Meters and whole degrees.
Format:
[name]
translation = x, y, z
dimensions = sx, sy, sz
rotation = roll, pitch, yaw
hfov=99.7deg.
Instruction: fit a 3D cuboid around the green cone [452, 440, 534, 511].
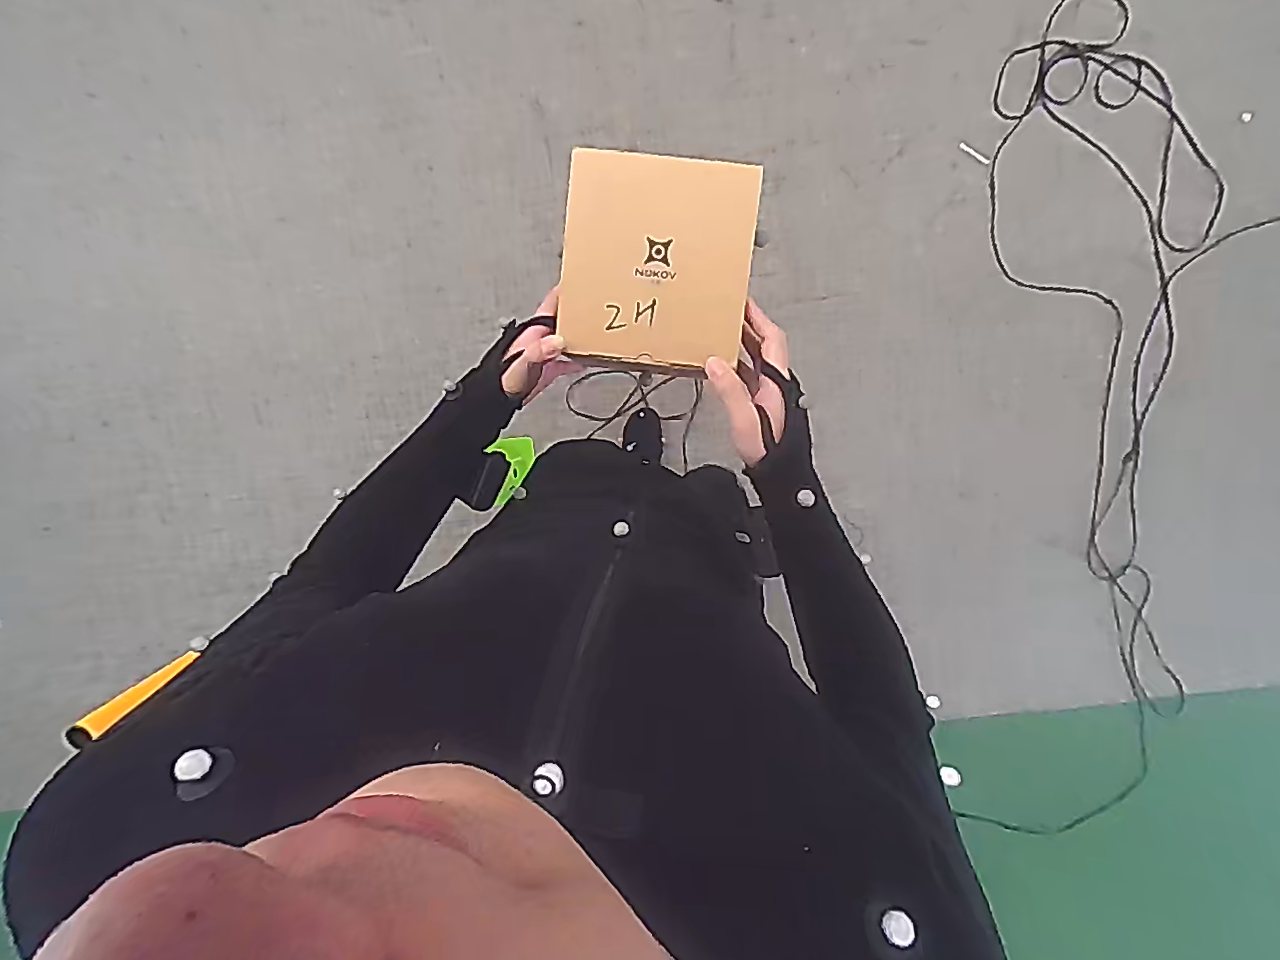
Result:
[green cone]
translation = -0.421, 0.009, 1.429
dimensions = 0.202, 0.368, 0.200
rotation = -6, 97, 1
